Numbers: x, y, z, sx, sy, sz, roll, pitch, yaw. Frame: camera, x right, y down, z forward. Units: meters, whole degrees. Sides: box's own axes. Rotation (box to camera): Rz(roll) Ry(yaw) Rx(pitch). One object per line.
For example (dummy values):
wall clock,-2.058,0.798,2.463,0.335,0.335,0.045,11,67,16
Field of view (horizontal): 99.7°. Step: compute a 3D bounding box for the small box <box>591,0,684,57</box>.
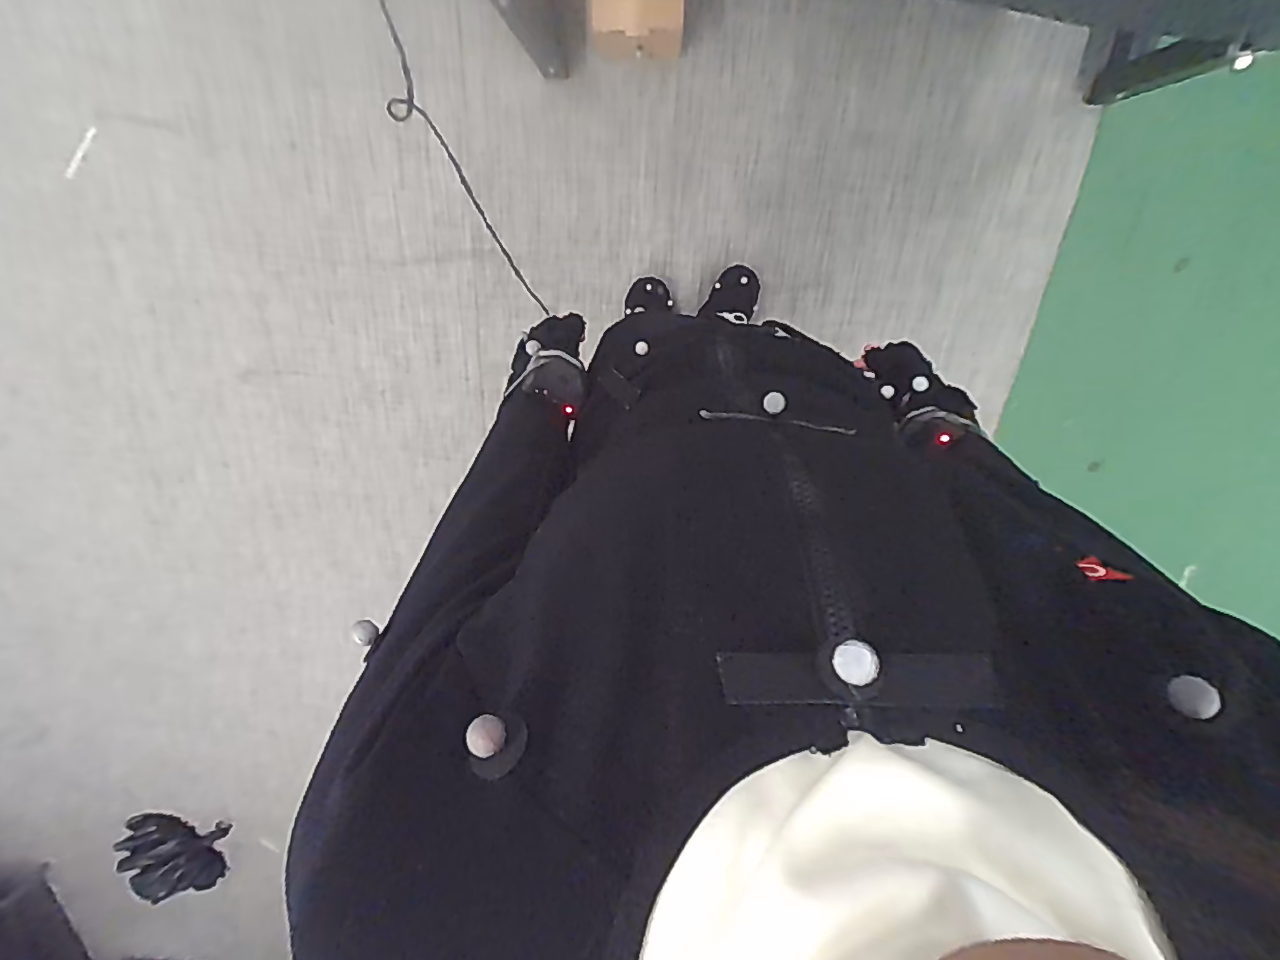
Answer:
small box,-0.001,-0.918,1.010,0.168,0.176,0.179,1,114,2
